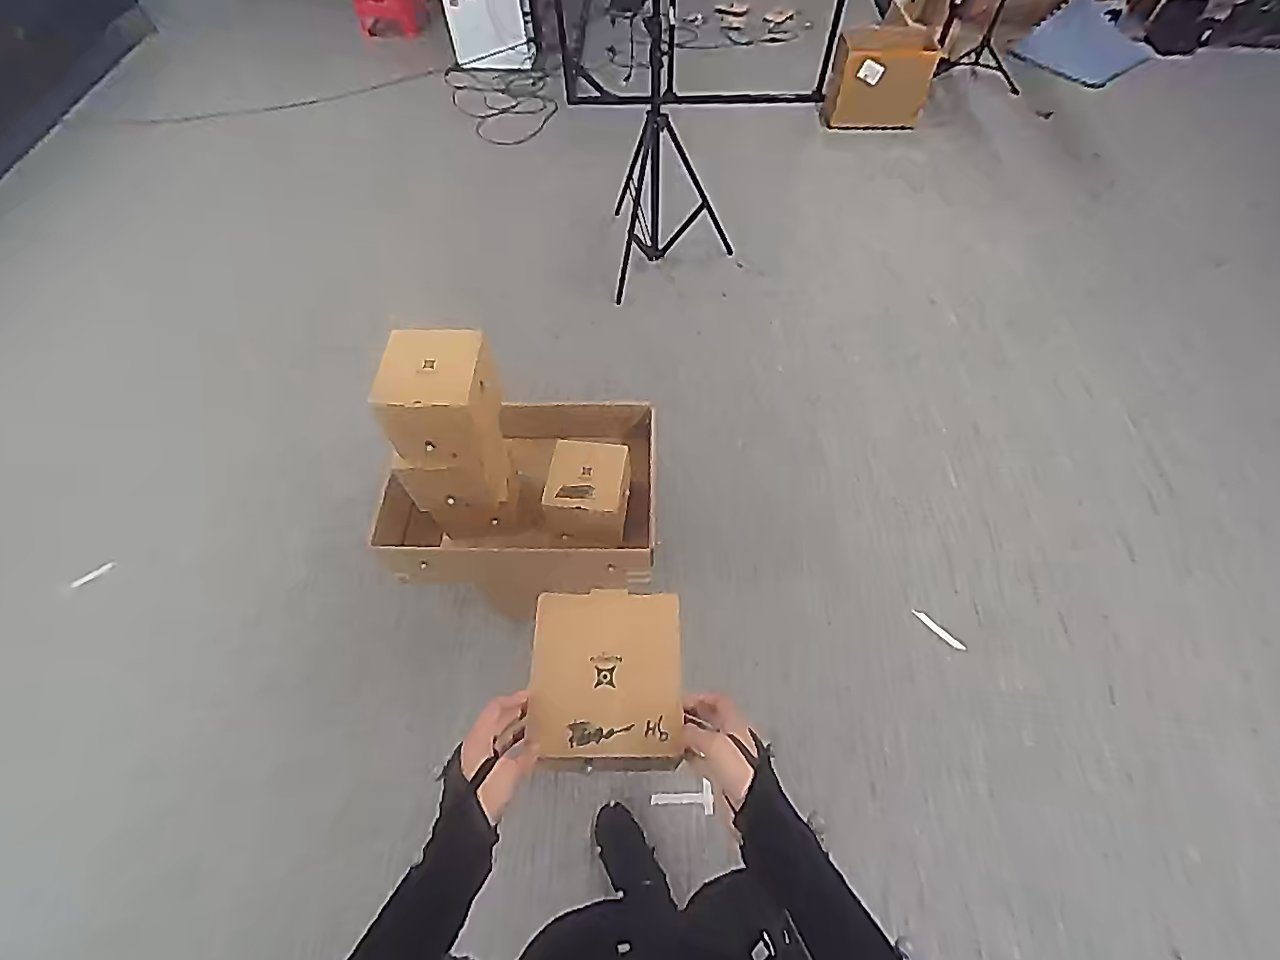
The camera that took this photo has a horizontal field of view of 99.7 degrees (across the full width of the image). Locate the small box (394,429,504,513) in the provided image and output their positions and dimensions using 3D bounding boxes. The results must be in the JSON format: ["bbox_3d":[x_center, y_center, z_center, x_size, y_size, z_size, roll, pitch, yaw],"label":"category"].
[{"bbox_3d":[-0.382,-0.048,1.117,0.168,0.176,0.179,-3,59,-2],"label":"small box"}]

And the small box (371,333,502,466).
[{"bbox_3d":[-0.355,-0.144,0.985,0.168,0.176,0.179,0,59,-1],"label":"small box"}]

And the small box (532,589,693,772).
[{"bbox_3d":[-0.027,0.246,0.655,0.168,0.176,0.179,1,58,0],"label":"small box"}]

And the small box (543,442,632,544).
[{"bbox_3d":[-0.111,0.034,1.247,0.168,0.176,0.179,5,60,5],"label":"small box"}]
